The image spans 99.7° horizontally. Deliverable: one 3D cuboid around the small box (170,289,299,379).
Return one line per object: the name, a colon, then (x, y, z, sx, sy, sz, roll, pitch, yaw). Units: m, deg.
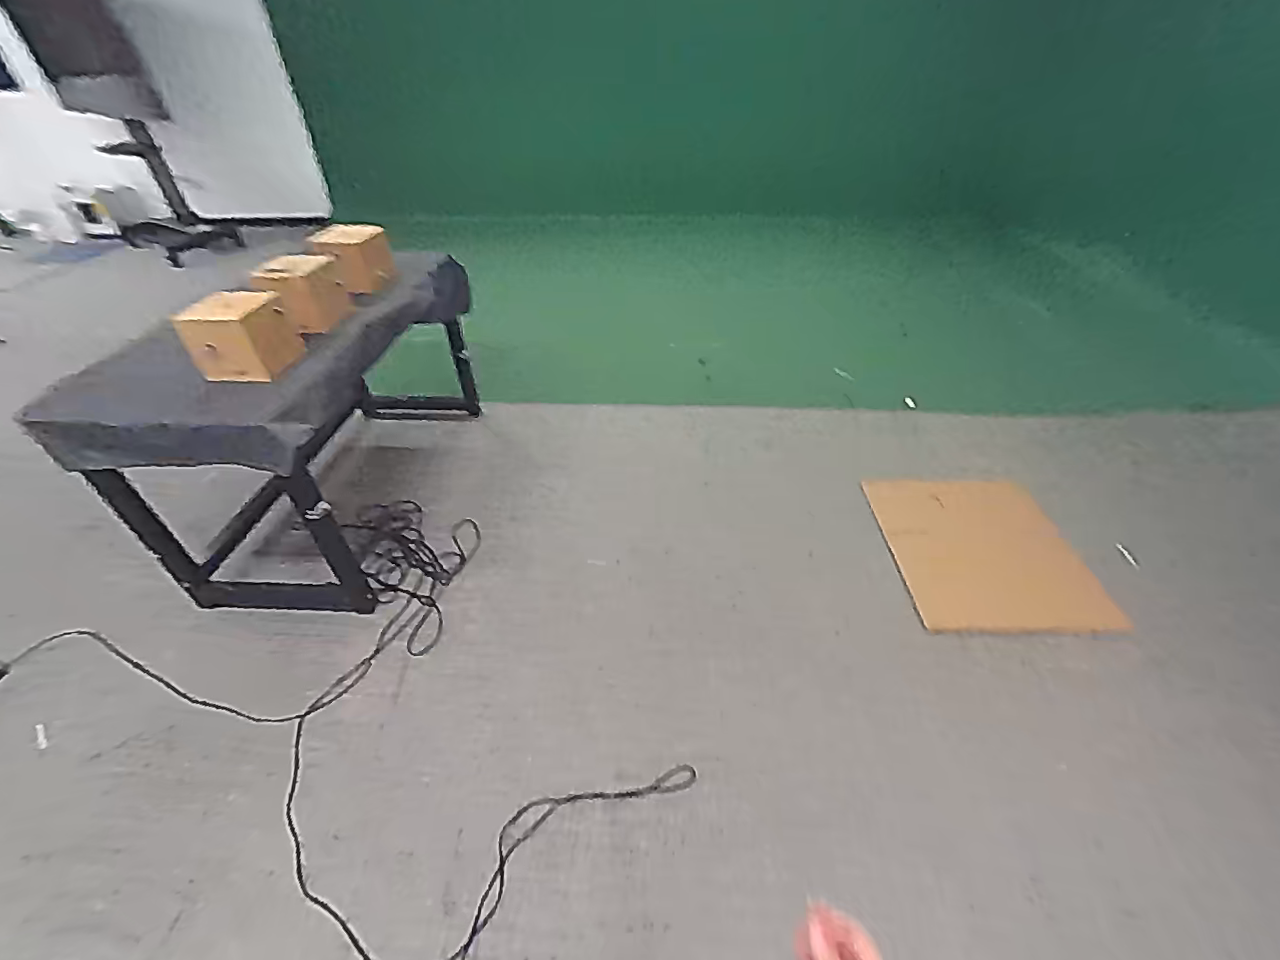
small box: (-1.008, -0.367, 1.367, 0.168, 0.176, 0.179, 1, 39, 3)

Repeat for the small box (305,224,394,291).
small box: (-0.968, -0.748, 1.819, 0.179, 0.176, 0.168, 6, 42, 8)
